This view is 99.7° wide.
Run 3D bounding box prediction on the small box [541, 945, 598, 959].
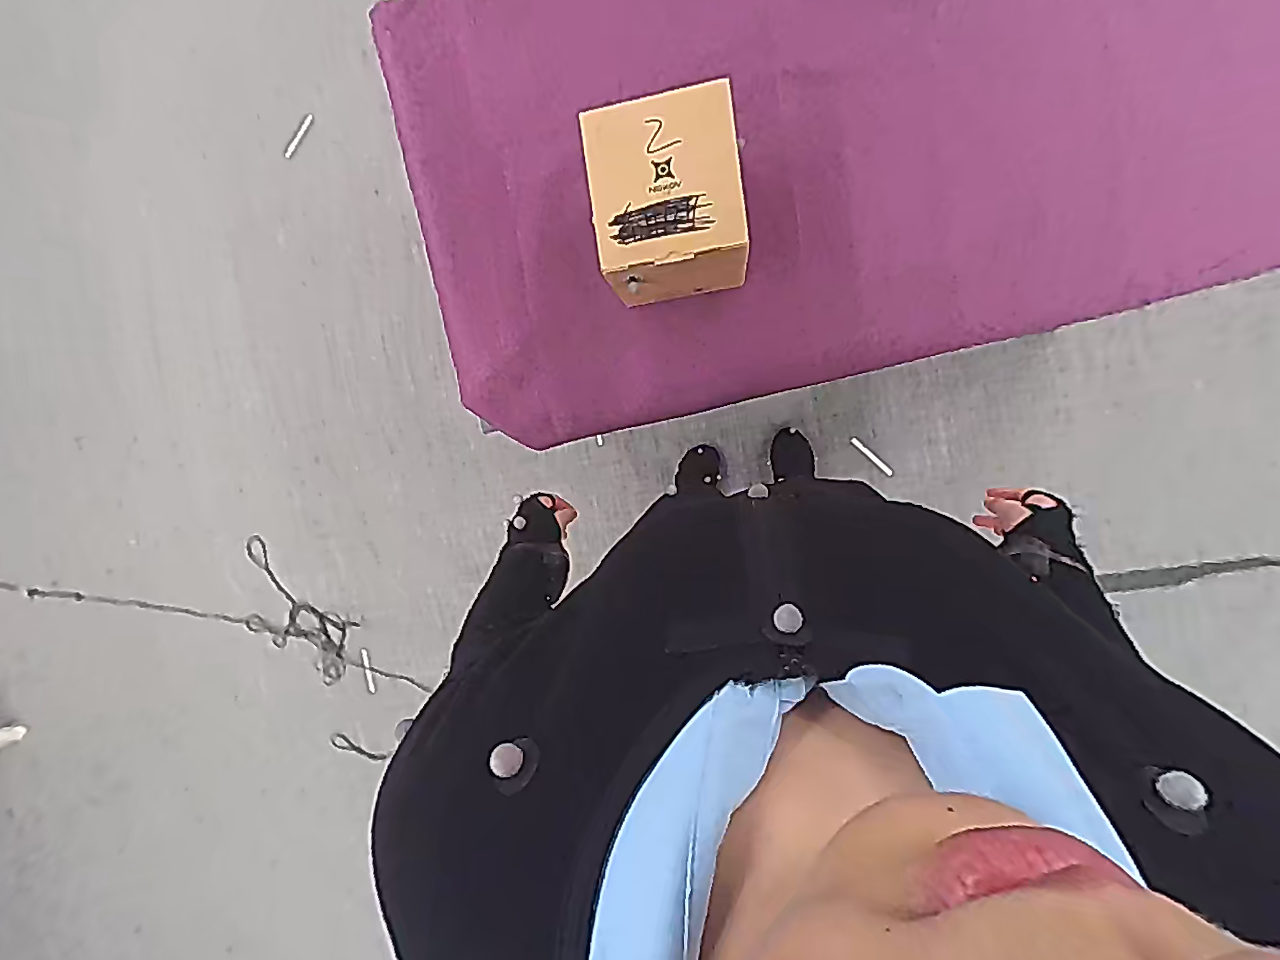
[{"bbox_3d":[-0.224,1.544,1.615,0.179,0.176,0.168,-1,94,9],"label":"small box"}]
